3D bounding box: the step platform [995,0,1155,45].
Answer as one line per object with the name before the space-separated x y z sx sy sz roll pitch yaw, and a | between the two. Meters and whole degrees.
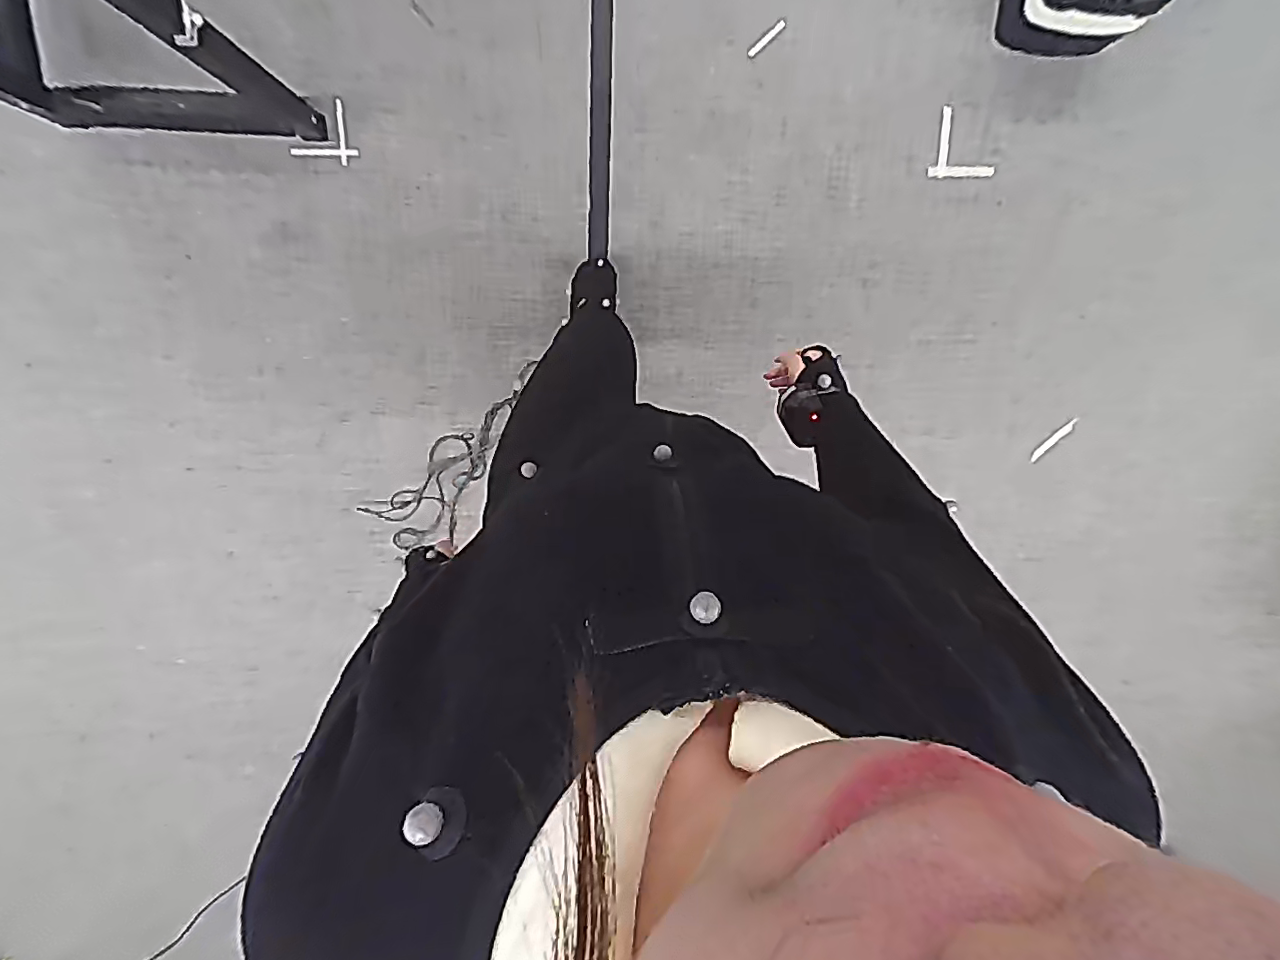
step platform | 1.020 -1.363 1.133 0.286 0.204 0.684 6 102 -5
